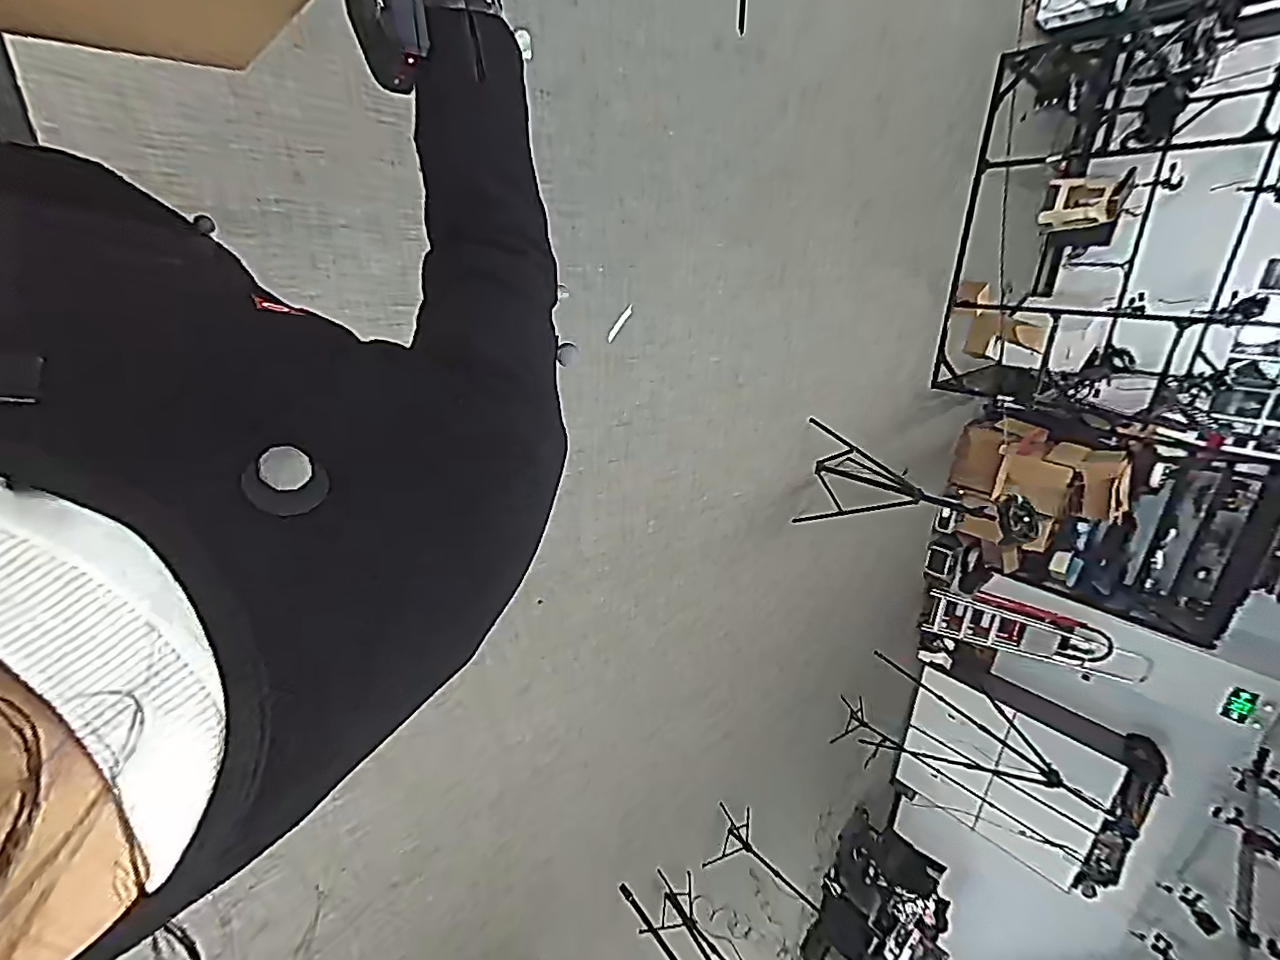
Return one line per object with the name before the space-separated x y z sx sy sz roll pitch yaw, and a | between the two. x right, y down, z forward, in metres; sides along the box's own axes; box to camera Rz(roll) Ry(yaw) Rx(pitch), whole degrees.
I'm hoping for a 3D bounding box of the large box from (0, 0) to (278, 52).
large box | -0.418 -0.422 0.215 0.408 0.320 0.320 -21 124 -38
